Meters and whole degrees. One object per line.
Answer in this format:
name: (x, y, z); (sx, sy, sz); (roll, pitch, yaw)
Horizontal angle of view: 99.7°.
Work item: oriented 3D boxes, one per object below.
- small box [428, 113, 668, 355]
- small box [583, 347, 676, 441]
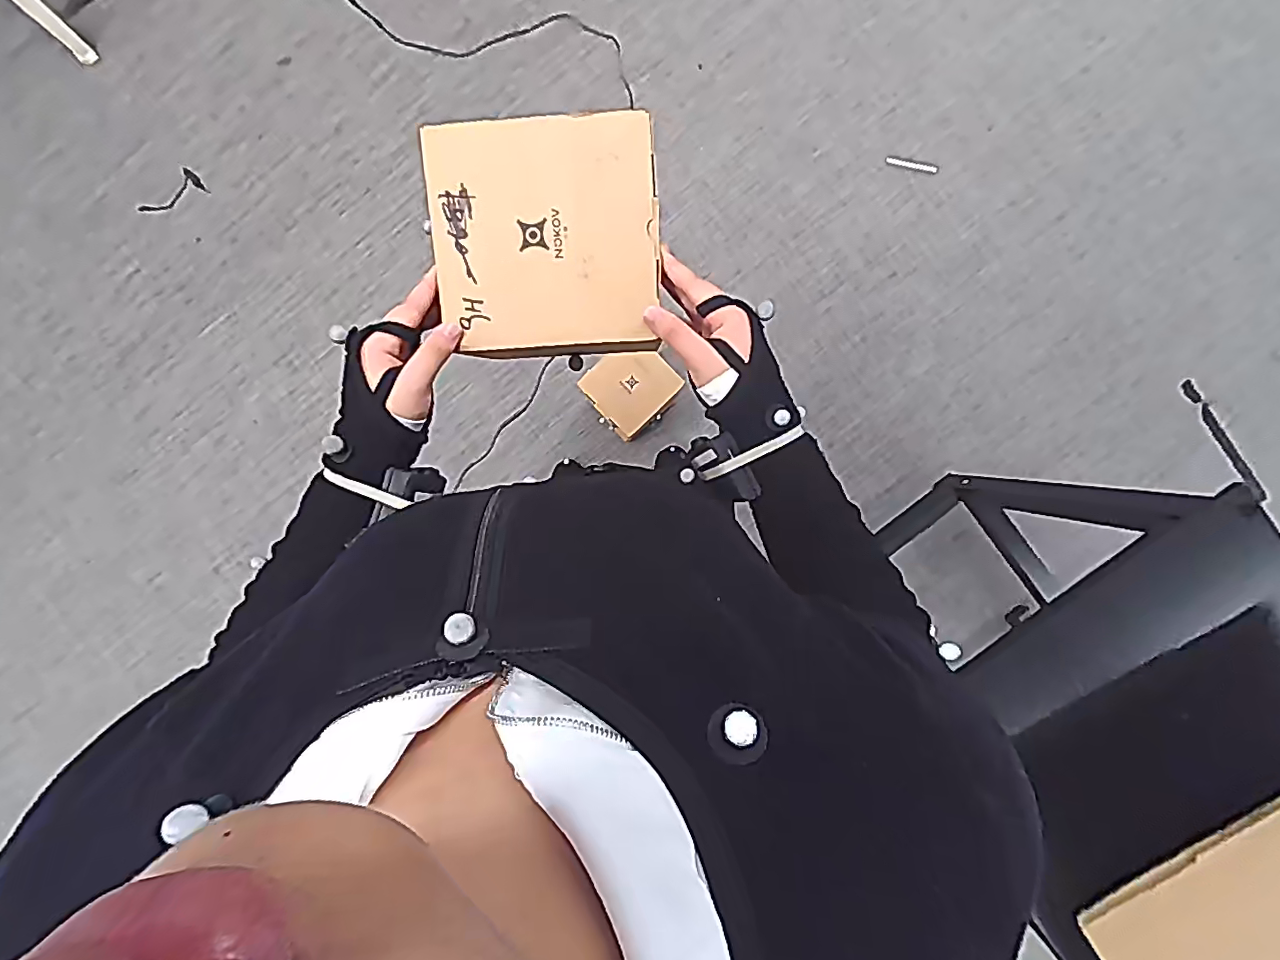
small box: (-0.070, -0.206, 0.498); (0.179, 0.176, 0.168); (-4, 100, 1)
small box: (-0.027, -0.219, 1.409); (0.179, 0.176, 0.168); (-41, 92, 3)
